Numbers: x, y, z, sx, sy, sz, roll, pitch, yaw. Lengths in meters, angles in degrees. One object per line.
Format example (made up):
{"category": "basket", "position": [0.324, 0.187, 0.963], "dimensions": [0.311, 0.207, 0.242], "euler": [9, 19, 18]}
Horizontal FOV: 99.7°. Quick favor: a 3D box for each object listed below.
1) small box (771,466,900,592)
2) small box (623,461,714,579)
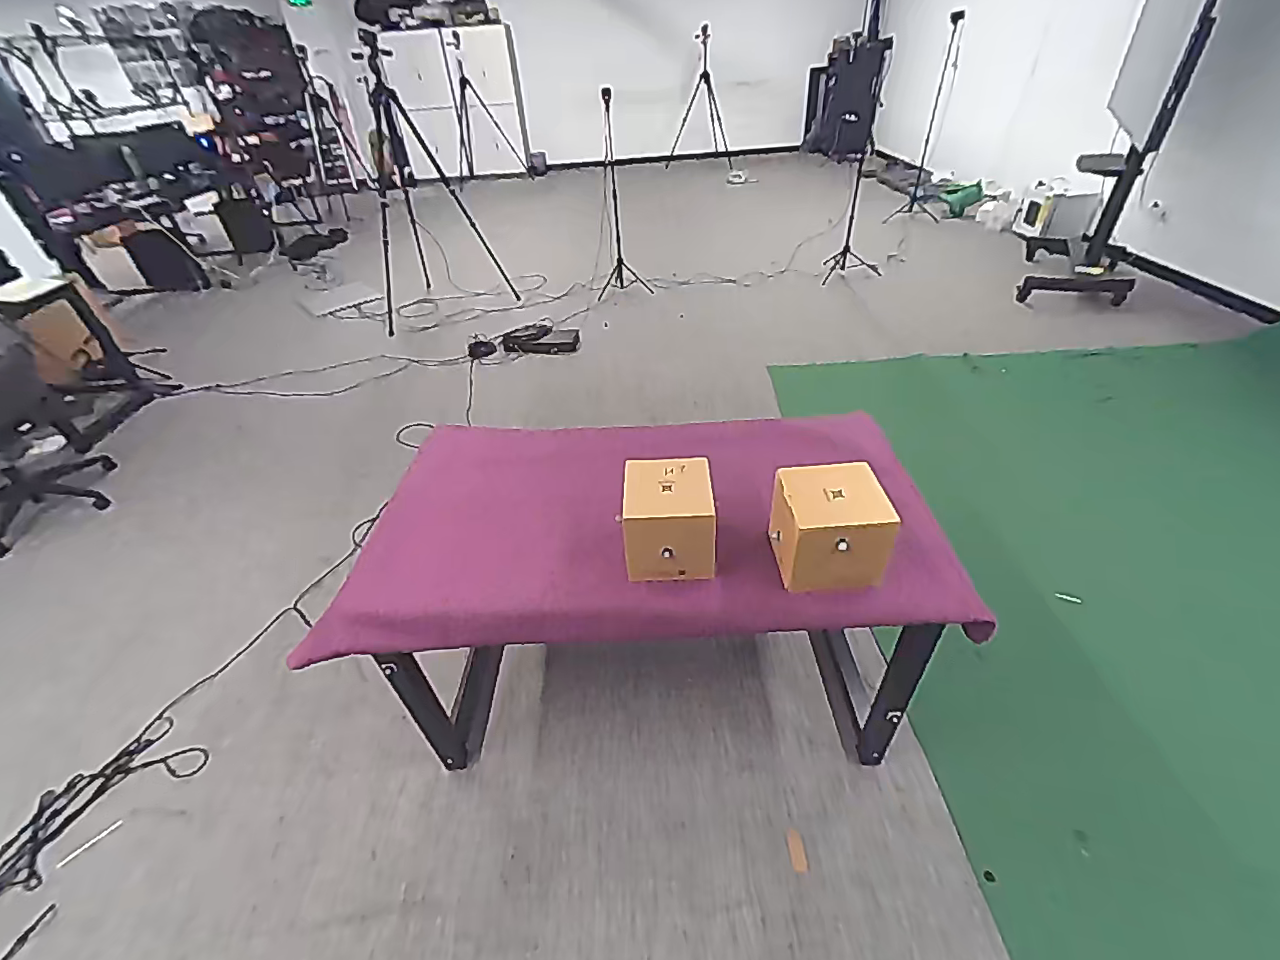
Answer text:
{"category": "small box", "position": [0.356, 0.093, 1.020], "dimensions": [0.179, 0.176, 0.168], "euler": [-5, 40, 1]}
{"category": "small box", "position": [0.059, 0.082, 1.063], "dimensions": [0.168, 0.176, 0.179], "euler": [-2, 37, 3]}
